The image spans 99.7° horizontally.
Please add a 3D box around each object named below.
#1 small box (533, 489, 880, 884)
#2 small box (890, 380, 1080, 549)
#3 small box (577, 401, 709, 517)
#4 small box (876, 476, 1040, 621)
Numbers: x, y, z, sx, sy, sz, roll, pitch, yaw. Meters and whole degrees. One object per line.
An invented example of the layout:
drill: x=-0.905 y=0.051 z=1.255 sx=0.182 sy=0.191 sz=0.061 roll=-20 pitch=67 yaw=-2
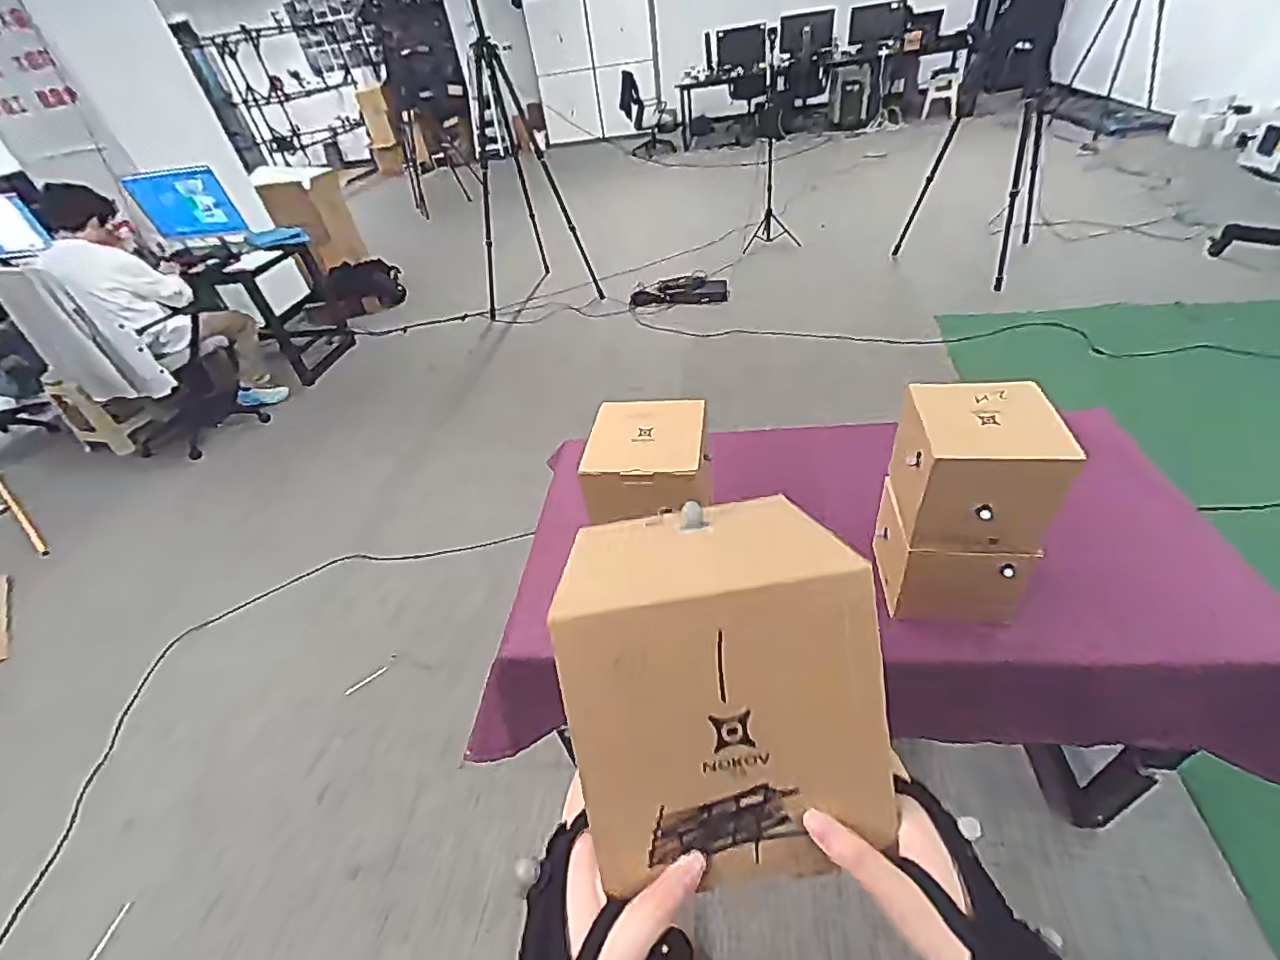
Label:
small box: x=0.040 y=0.116 z=0.364 sx=0.168 sy=0.179 sz=0.176 roll=-10 pitch=9 yaw=2
small box: x=0.460 y=-0.020 z=0.756 sx=0.168 sy=0.176 sz=0.179 roll=1 pitch=41 yaw=13
small box: x=0.016 y=-0.002 z=0.832 sx=0.168 sy=0.176 sz=0.179 roll=0 pitch=41 yaw=12
small box: x=0.483 y=0.107 z=0.858 sx=0.179 sy=0.176 sz=0.168 roll=0 pitch=41 yaw=11
